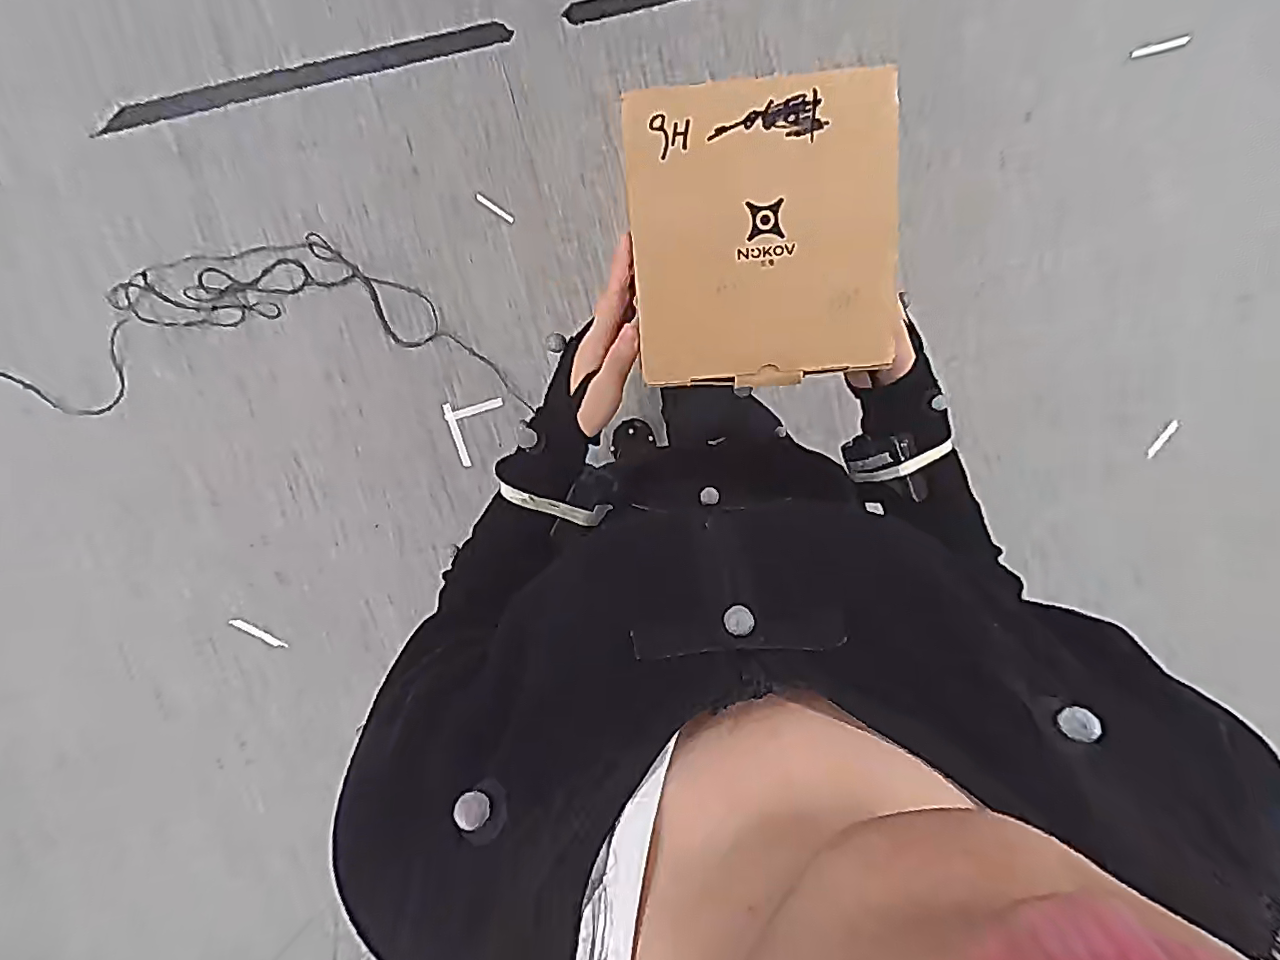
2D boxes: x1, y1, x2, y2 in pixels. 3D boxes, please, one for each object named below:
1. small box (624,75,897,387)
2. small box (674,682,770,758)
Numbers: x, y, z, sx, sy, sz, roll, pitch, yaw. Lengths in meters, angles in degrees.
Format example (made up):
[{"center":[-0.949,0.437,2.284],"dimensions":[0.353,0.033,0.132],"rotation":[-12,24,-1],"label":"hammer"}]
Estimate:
[{"center":[0.077,-0.170,0.420],"dimensions":[0.168,0.176,0.179],"rotation":[-5,102,0],"label":"small box"},{"center":[0.177,0.561,1.177],"dimensions":[0.179,0.176,0.168],"rotation":[-8,98,-2],"label":"small box"}]
